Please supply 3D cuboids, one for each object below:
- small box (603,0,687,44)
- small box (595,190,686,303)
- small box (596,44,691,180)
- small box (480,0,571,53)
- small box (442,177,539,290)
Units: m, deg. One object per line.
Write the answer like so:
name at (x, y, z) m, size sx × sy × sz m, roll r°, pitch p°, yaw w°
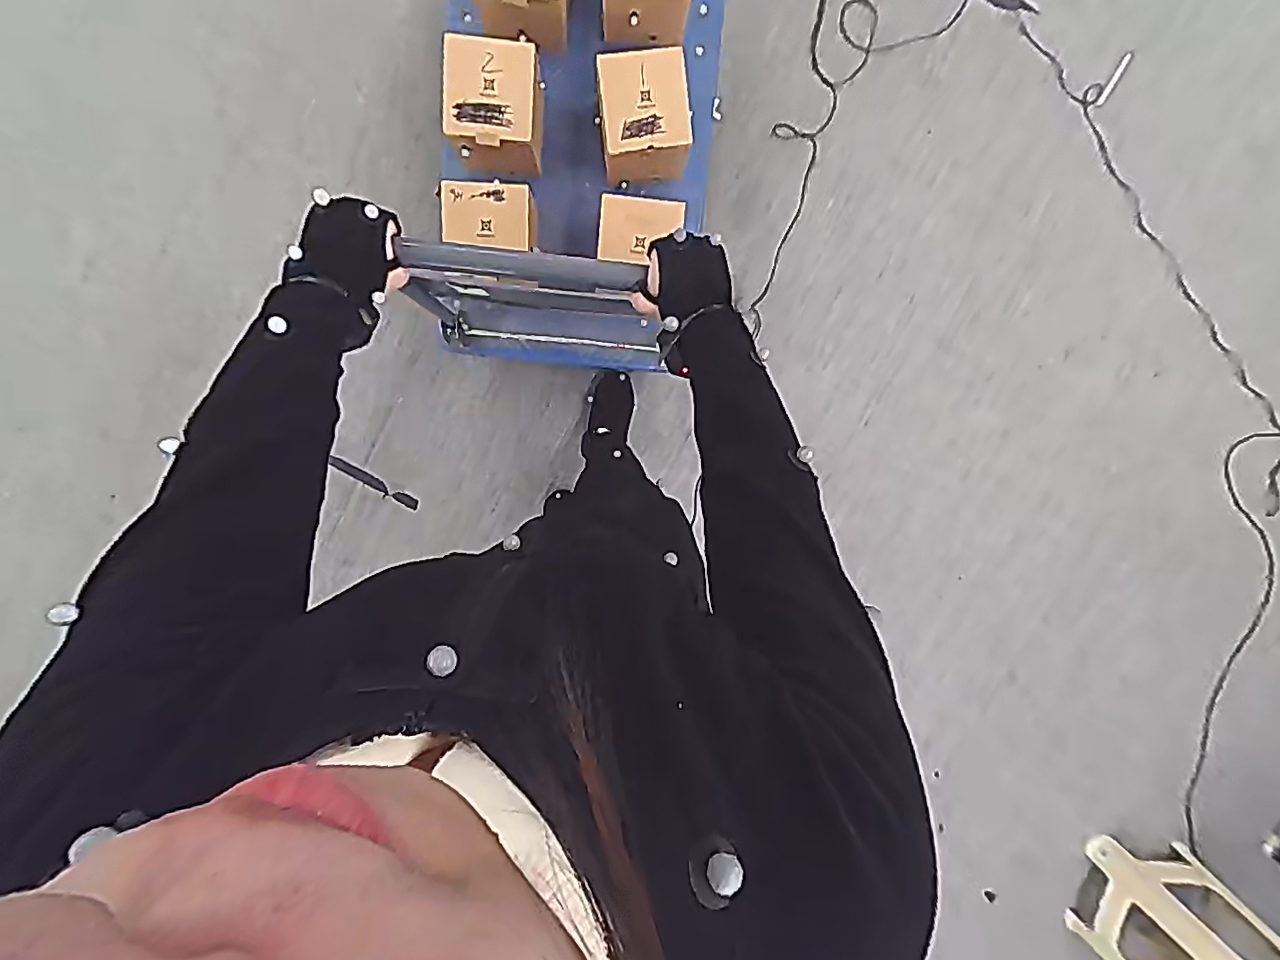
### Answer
small box at (0.011, -1.006, 1.063) m, size 0.168 × 0.176 × 0.179 m, roll 1°, pitch 99°, yaw -4°
small box at (-0.004, -0.481, 1.142) m, size 0.168 × 0.176 × 0.179 m, roll 5°, pitch 97°, yaw -5°
small box at (0.005, -0.736, 1.103) m, size 0.168 × 0.176 × 0.179 m, roll -8°, pitch 98°, yaw -2°
small box at (-0.223, -0.986, 1.049) m, size 0.168 × 0.176 × 0.179 m, roll 6°, pitch 99°, yaw -5°
small box at (-0.301, -0.497, 1.118) m, size 0.168 × 0.176 × 0.179 m, roll 1°, pitch 99°, yaw -5°
